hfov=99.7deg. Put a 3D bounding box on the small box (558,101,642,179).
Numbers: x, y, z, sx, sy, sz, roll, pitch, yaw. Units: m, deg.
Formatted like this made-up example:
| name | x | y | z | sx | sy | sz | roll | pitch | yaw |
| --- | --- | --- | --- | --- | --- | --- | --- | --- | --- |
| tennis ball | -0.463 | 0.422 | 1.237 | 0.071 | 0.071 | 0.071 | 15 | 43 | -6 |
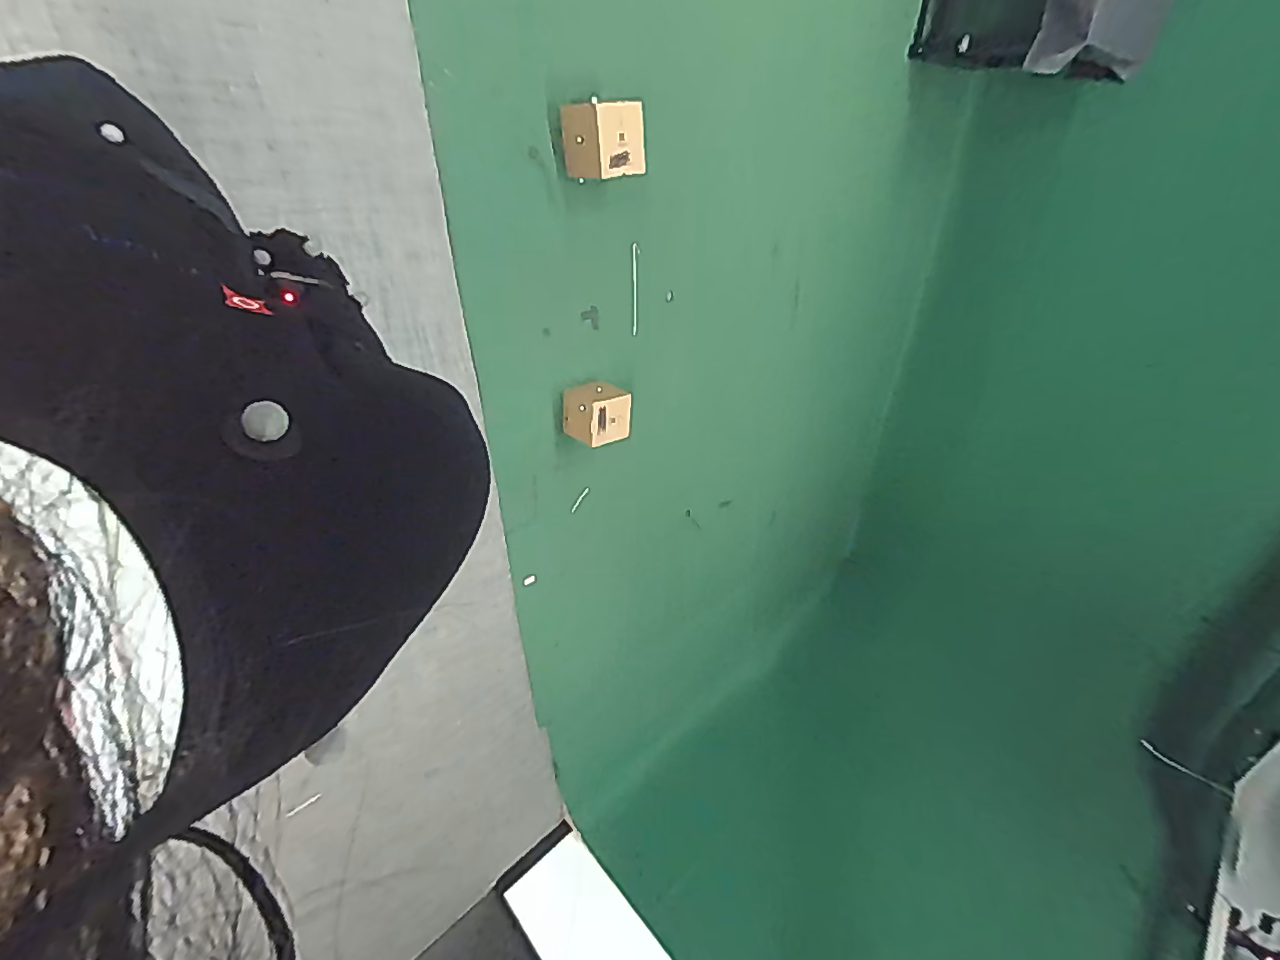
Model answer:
| name | x | y | z | sx | sy | sz | roll | pitch | yaw |
| --- | --- | --- | --- | --- | --- | --- | --- | --- | --- |
| small box | -0.111 | -0.959 | 1.525 | 0.168 | 0.176 | 0.179 | -29 | 131 | -33 |
